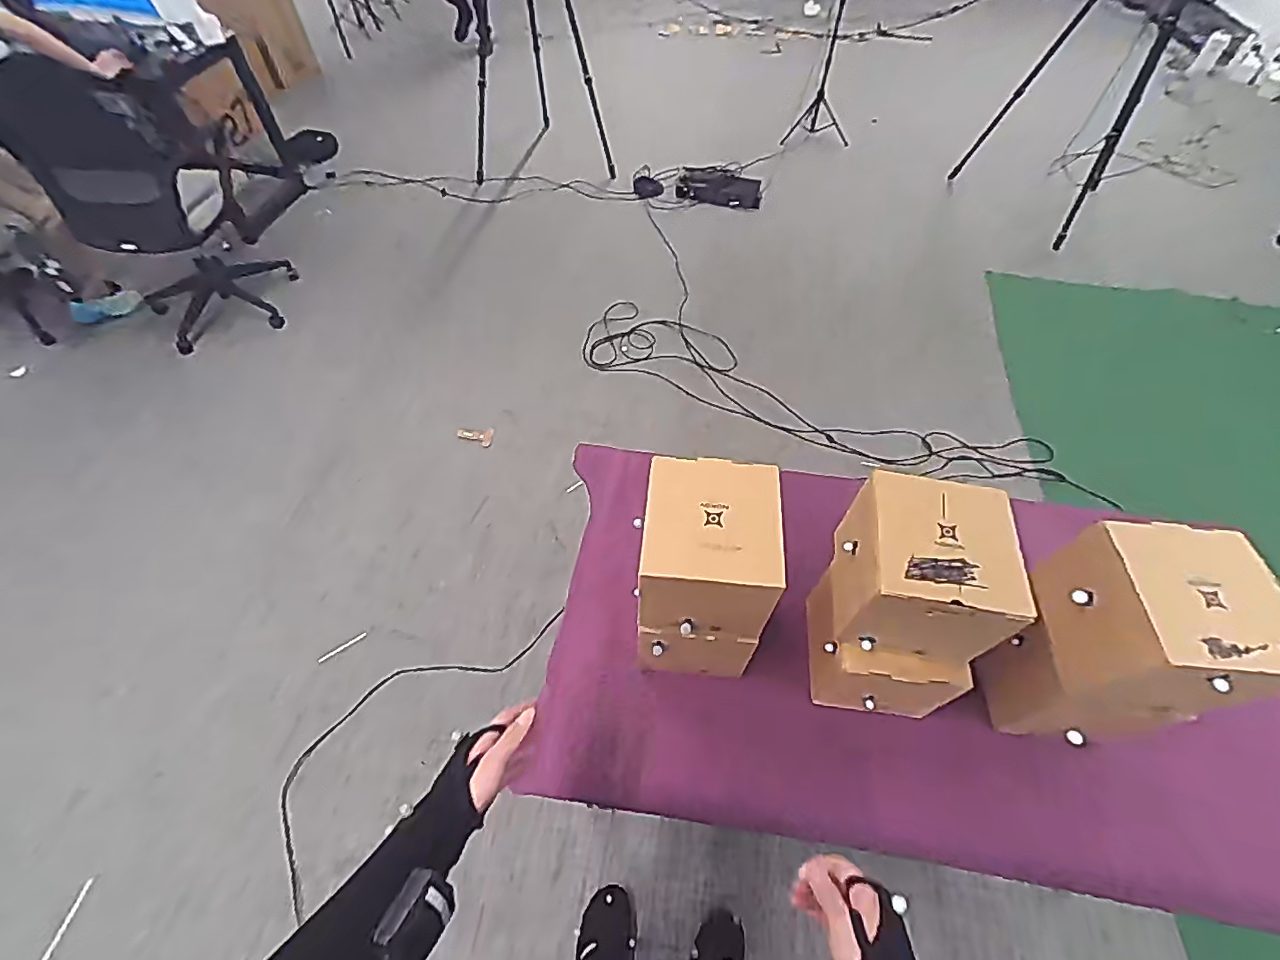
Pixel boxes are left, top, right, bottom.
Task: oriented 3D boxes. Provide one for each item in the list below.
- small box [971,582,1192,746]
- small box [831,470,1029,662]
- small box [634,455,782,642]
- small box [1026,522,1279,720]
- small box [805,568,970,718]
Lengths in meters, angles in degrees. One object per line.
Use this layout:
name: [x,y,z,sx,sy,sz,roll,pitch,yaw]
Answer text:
small box: [0.616,0.271,0.792,0.168,0.176,0.179,5,54,3]
small box: [0.354,0.116,0.700,0.168,0.176,0.179,10,54,6]
small box: [0.083,0.092,0.710,0.168,0.176,0.179,5,54,3]
small box: [0.620,0.174,0.660,0.168,0.176,0.179,4,53,3]
small box: [0.354,0.239,0.814,0.168,0.176,0.179,6,55,3]
